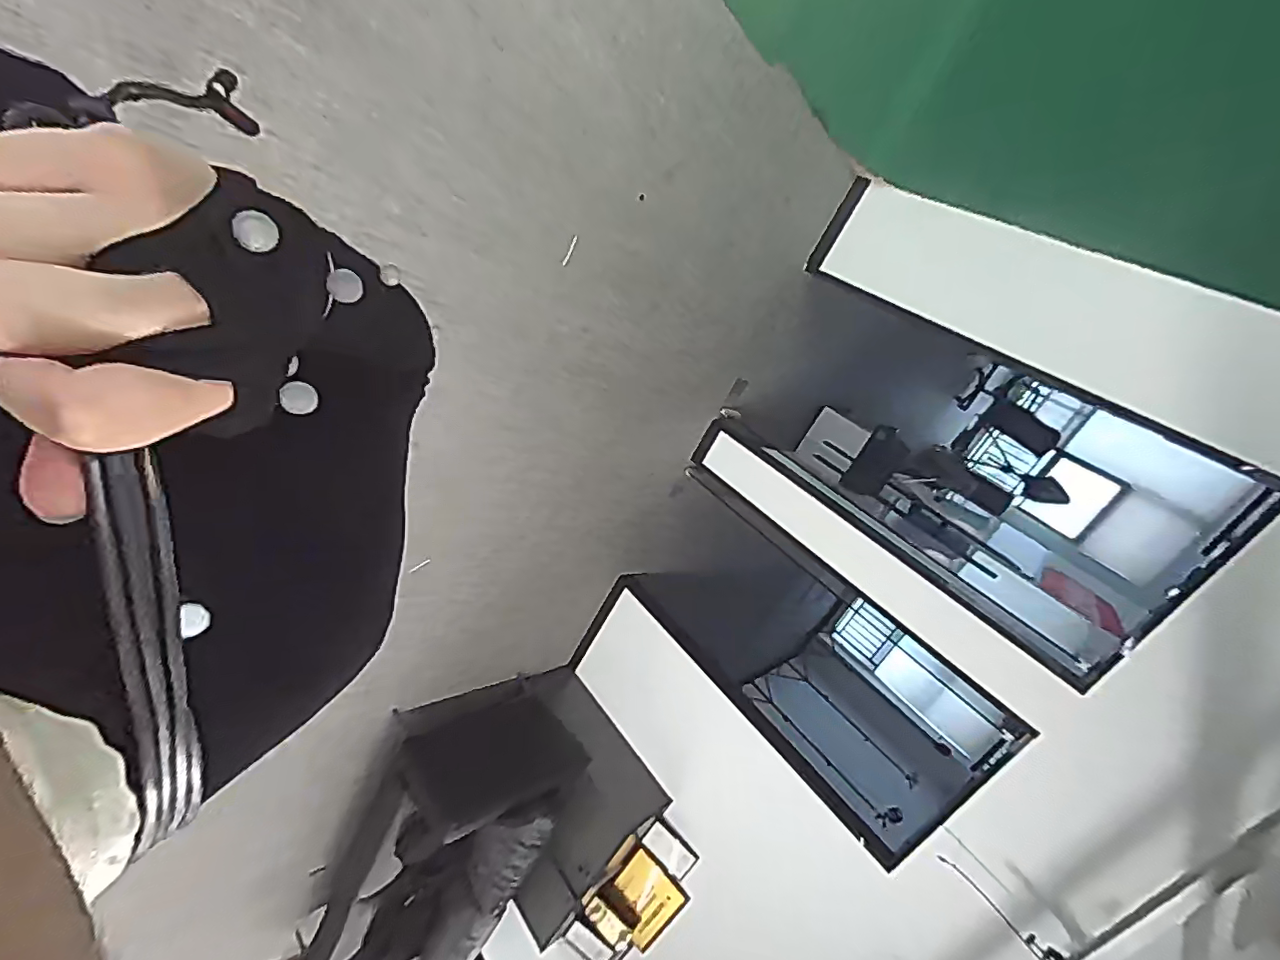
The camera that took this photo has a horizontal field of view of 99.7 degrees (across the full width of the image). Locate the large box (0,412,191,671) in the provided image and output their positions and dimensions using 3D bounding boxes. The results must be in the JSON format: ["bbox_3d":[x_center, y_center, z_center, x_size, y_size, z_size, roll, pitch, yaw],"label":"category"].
[{"bbox_3d":[-1.185,0.120,1.097,0.320,0.320,0.408,11,116,-54],"label":"large box"}]
